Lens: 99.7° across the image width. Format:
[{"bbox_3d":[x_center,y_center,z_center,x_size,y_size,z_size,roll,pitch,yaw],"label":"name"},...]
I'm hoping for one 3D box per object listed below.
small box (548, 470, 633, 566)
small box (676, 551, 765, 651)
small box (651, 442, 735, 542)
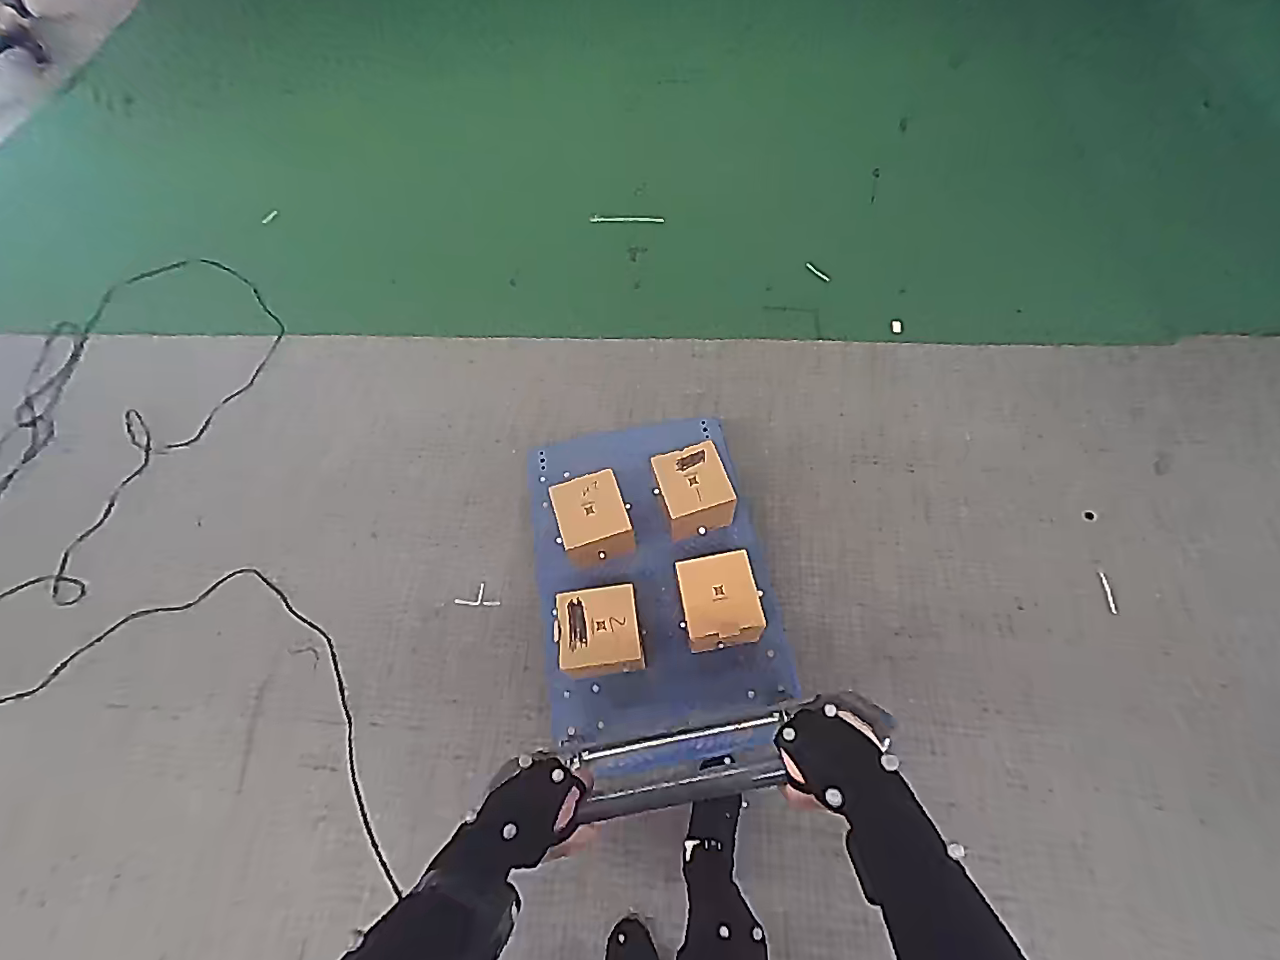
[{"bbox_3d":[-0.119,0.106,1.371,0.168,0.176,0.179,-17,63,-6],"label":"small box"},{"bbox_3d":[0.178,0.285,1.261,0.168,0.176,0.179,-11,63,-1],"label":"small box"},{"bbox_3d":[0.130,0.035,1.391,0.168,0.176,0.179,-17,64,-4],"label":"small box"}]
